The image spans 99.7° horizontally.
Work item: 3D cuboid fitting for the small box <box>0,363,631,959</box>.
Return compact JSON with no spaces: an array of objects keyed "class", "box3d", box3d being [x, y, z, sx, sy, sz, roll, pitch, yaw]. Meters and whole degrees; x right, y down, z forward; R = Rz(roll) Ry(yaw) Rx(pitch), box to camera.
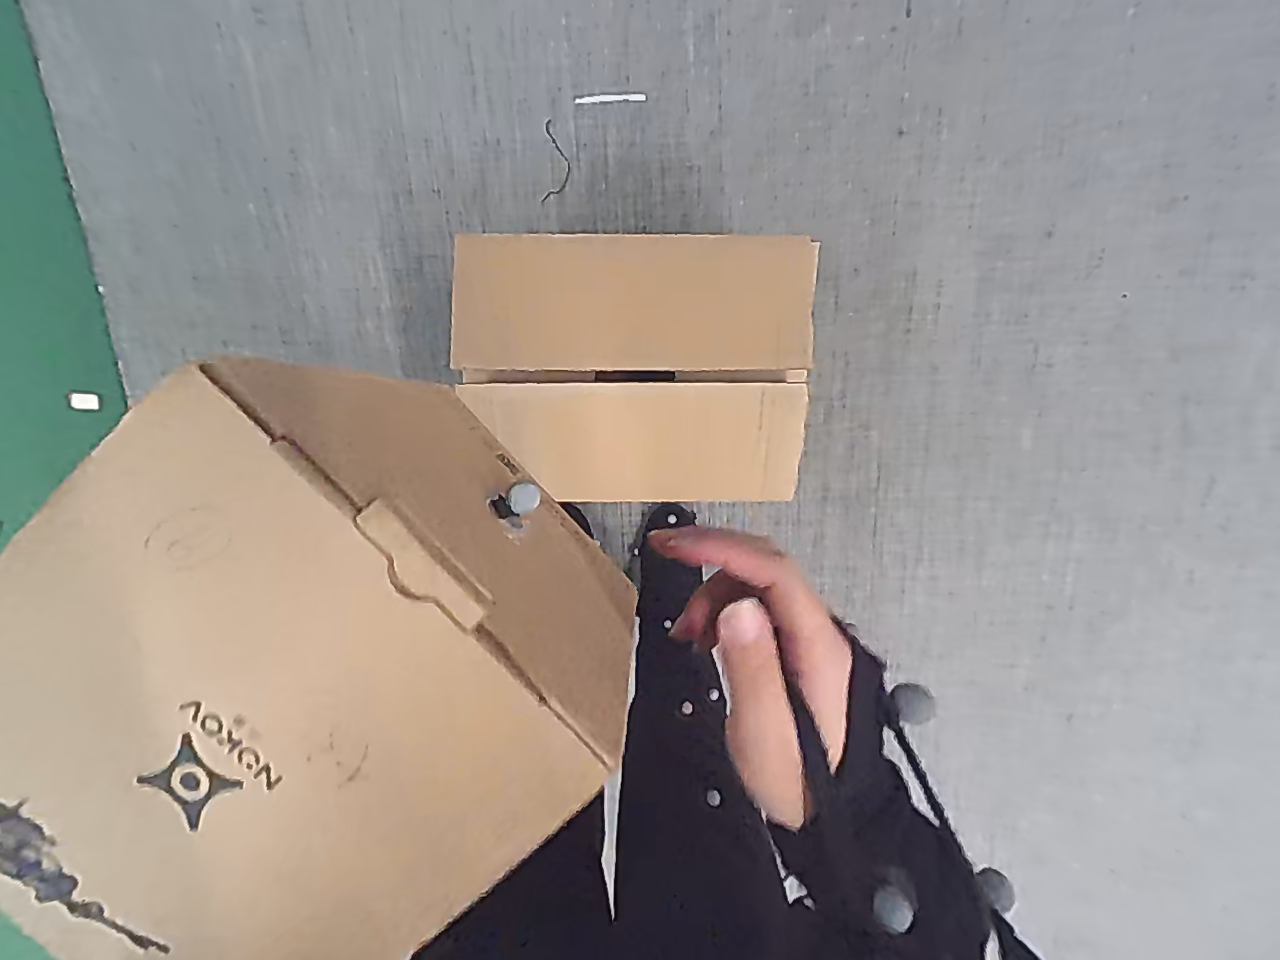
[{"class":"small box","box3d":[-0.121,0.071,0.239,0.179,0.176,0.168,-42,95,6]}]
